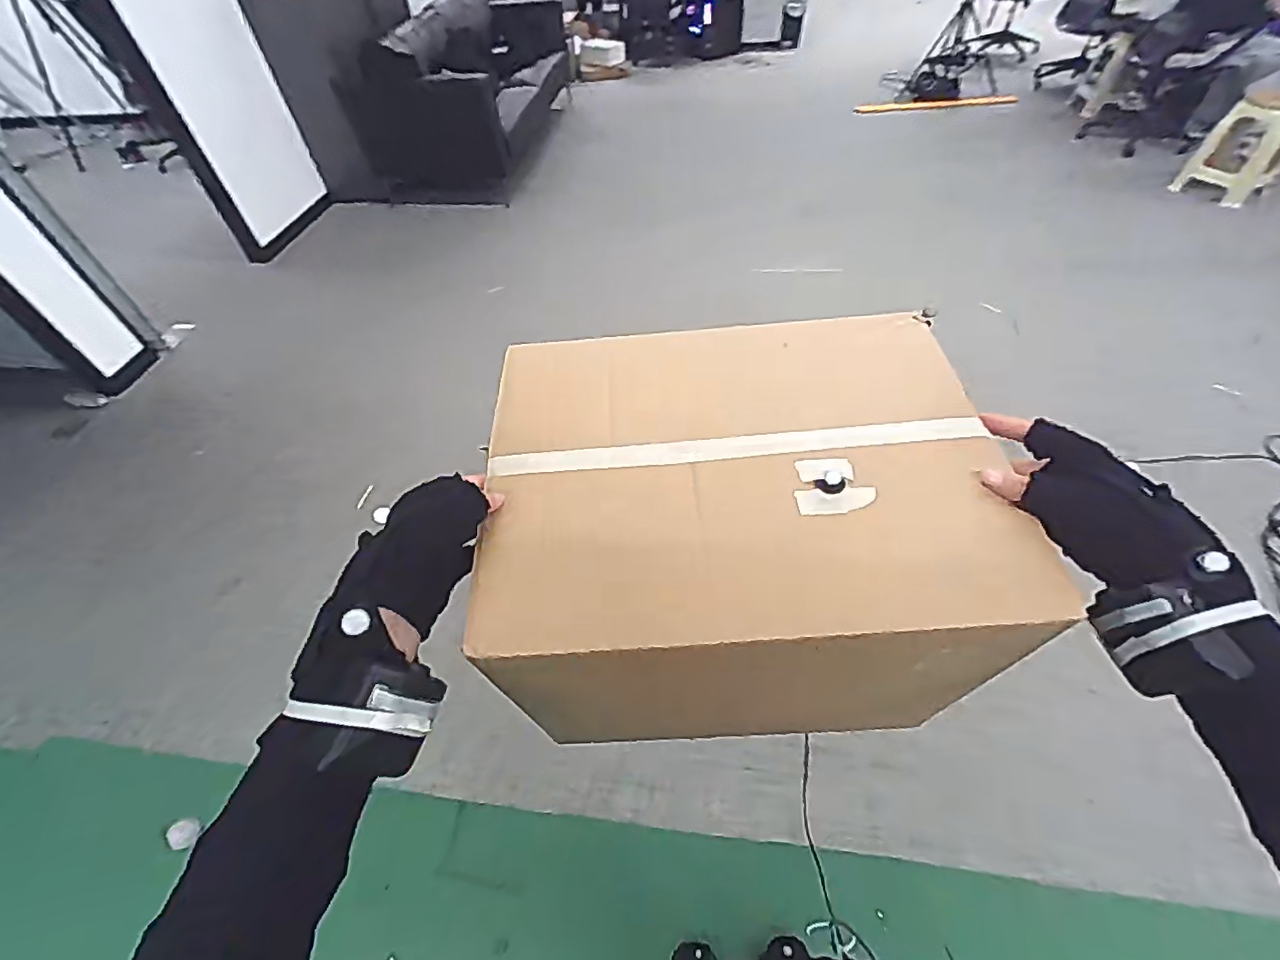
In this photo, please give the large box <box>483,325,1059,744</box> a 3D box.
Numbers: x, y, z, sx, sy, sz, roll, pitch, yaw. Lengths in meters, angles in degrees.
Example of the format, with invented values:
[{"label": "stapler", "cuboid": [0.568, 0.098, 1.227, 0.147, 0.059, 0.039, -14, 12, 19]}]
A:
[{"label": "large box", "cuboid": [0.089, 0.073, 0.574, 0.408, 0.320, 0.320, -5, 54, 3]}]
